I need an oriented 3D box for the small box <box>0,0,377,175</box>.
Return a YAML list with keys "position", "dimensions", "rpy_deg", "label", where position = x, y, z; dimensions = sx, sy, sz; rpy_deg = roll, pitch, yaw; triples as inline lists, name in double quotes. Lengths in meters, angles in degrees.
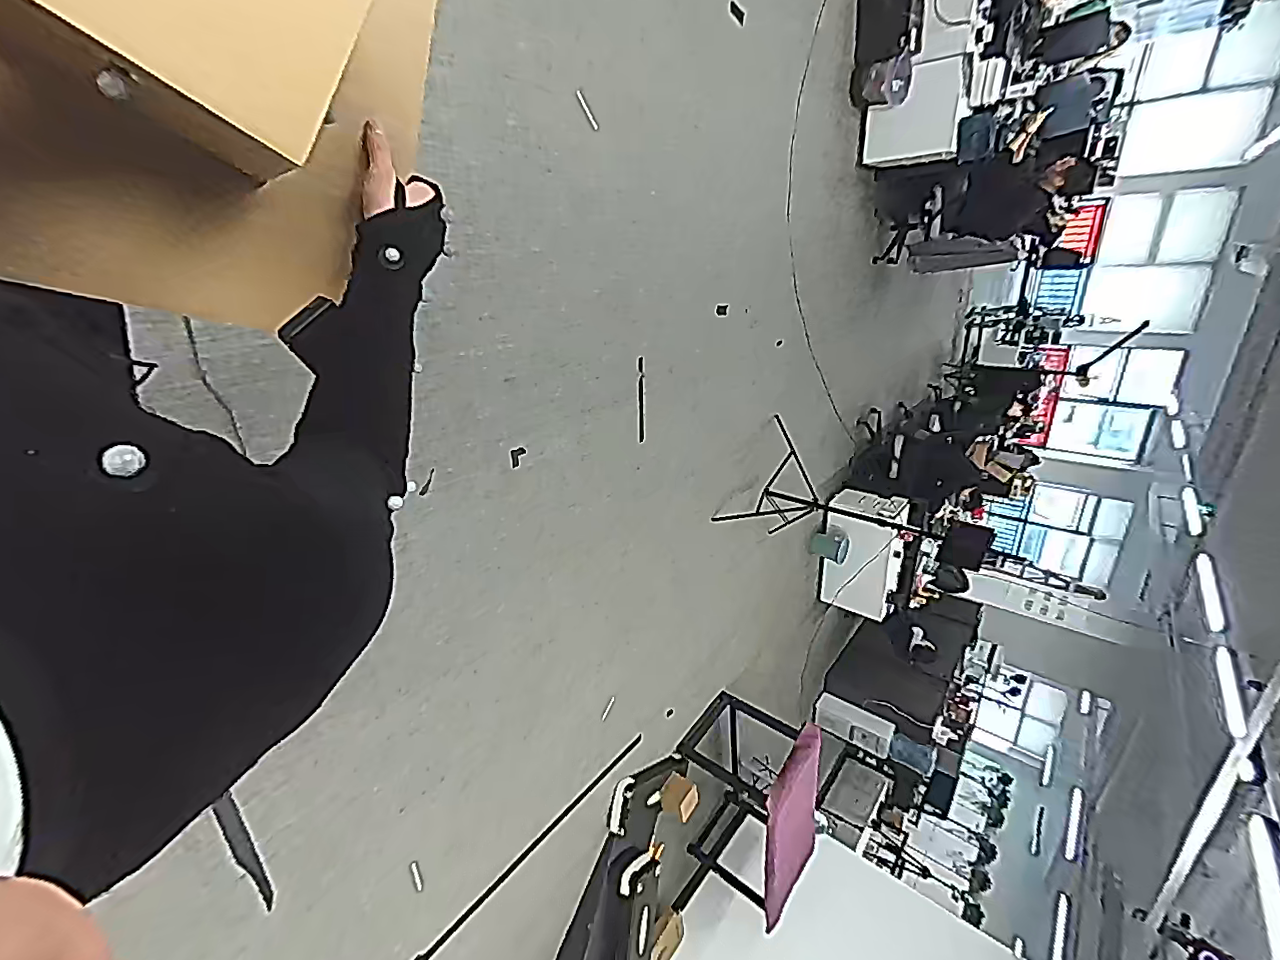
- position: [-0.311, -0.340, 0.373]
  dimensions: [0.179, 0.176, 0.168]
  rpy_deg: [22, 94, -44]
  label: "small box"
